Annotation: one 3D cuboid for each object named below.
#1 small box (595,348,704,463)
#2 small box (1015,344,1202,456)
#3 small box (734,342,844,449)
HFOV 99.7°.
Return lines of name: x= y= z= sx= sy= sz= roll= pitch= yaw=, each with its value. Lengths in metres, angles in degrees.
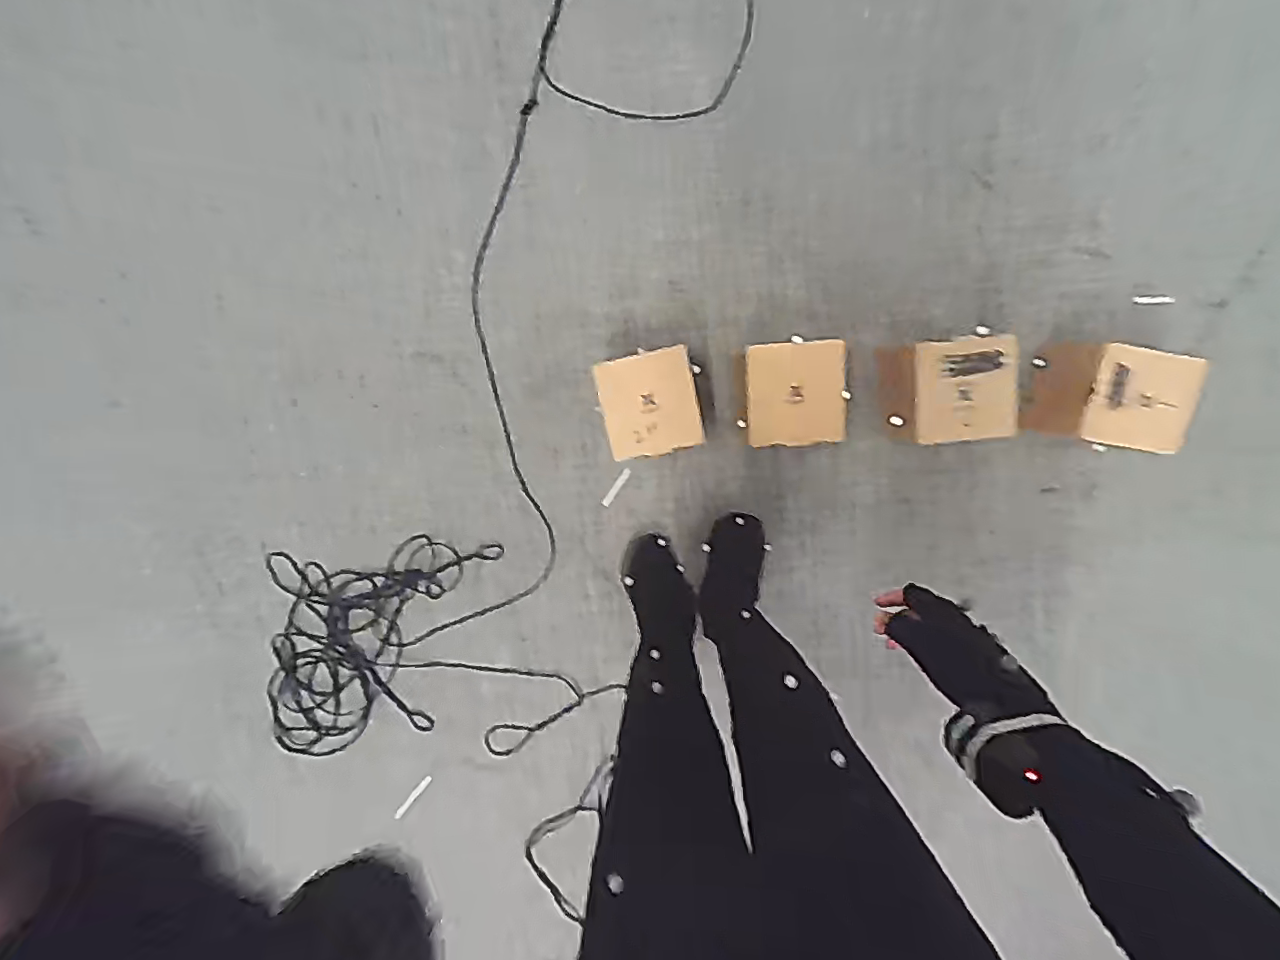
small box: x=0.019 y=-0.140 z=1.020 sx=0.168 sy=0.176 sz=0.179 roll=-12 pitch=99 yaw=5
small box: x=0.841 y=-0.146 z=0.993 sx=0.179 sy=0.176 sz=0.168 roll=10 pitch=100 yaw=-1
small box: x=0.270 y=-0.156 z=1.011 sx=0.168 sy=0.176 sz=0.179 roll=-4 pitch=100 yaw=3
